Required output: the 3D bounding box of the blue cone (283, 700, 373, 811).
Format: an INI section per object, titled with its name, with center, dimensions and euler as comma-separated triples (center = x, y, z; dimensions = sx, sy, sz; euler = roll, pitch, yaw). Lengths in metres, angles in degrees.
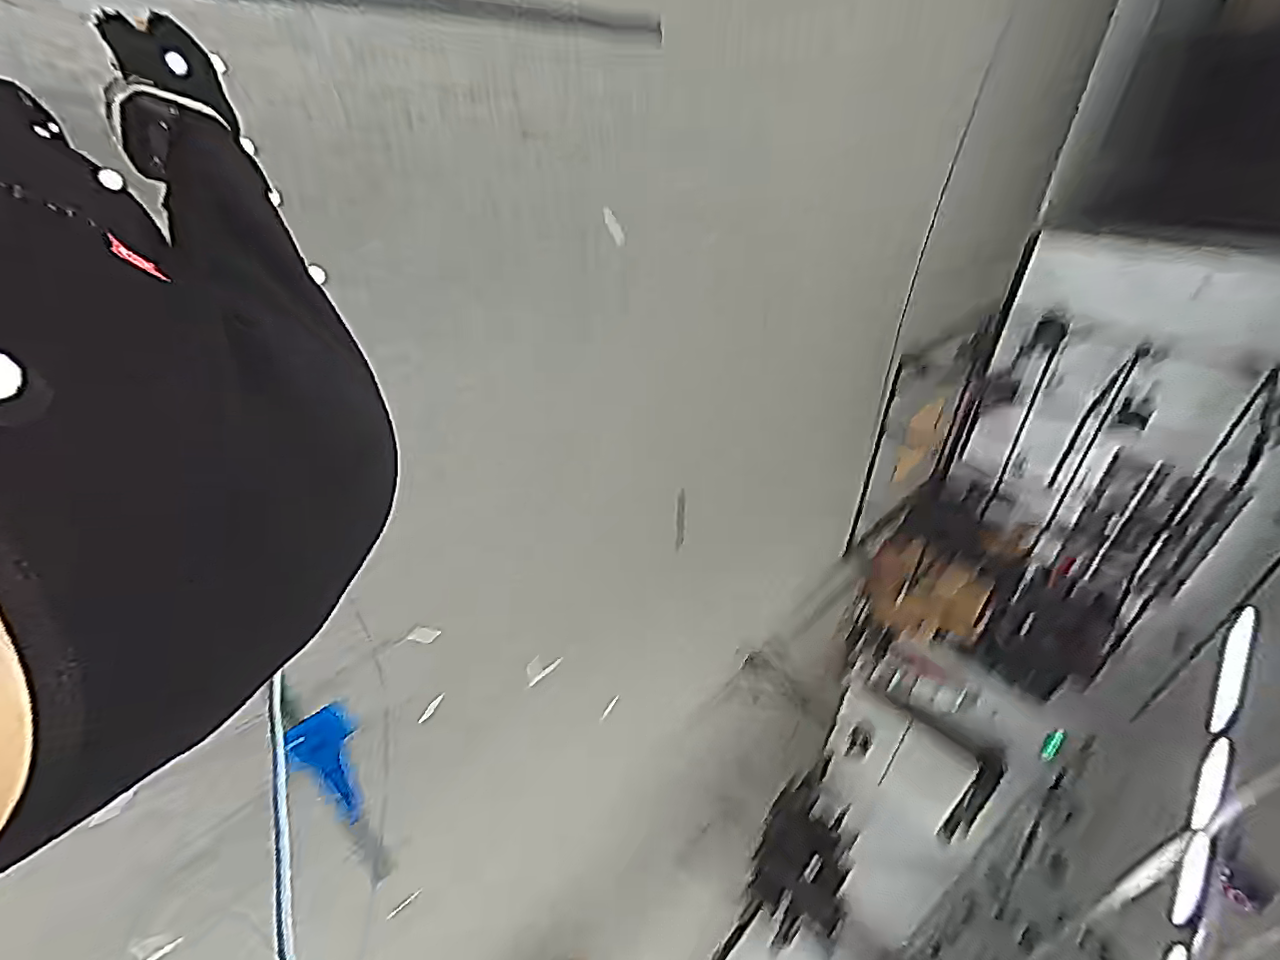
[blue cone]
center = -0.962, 0.912, 1.727
dimensions = 0.192, 0.380, 0.193
euler = -33, 137, -33
